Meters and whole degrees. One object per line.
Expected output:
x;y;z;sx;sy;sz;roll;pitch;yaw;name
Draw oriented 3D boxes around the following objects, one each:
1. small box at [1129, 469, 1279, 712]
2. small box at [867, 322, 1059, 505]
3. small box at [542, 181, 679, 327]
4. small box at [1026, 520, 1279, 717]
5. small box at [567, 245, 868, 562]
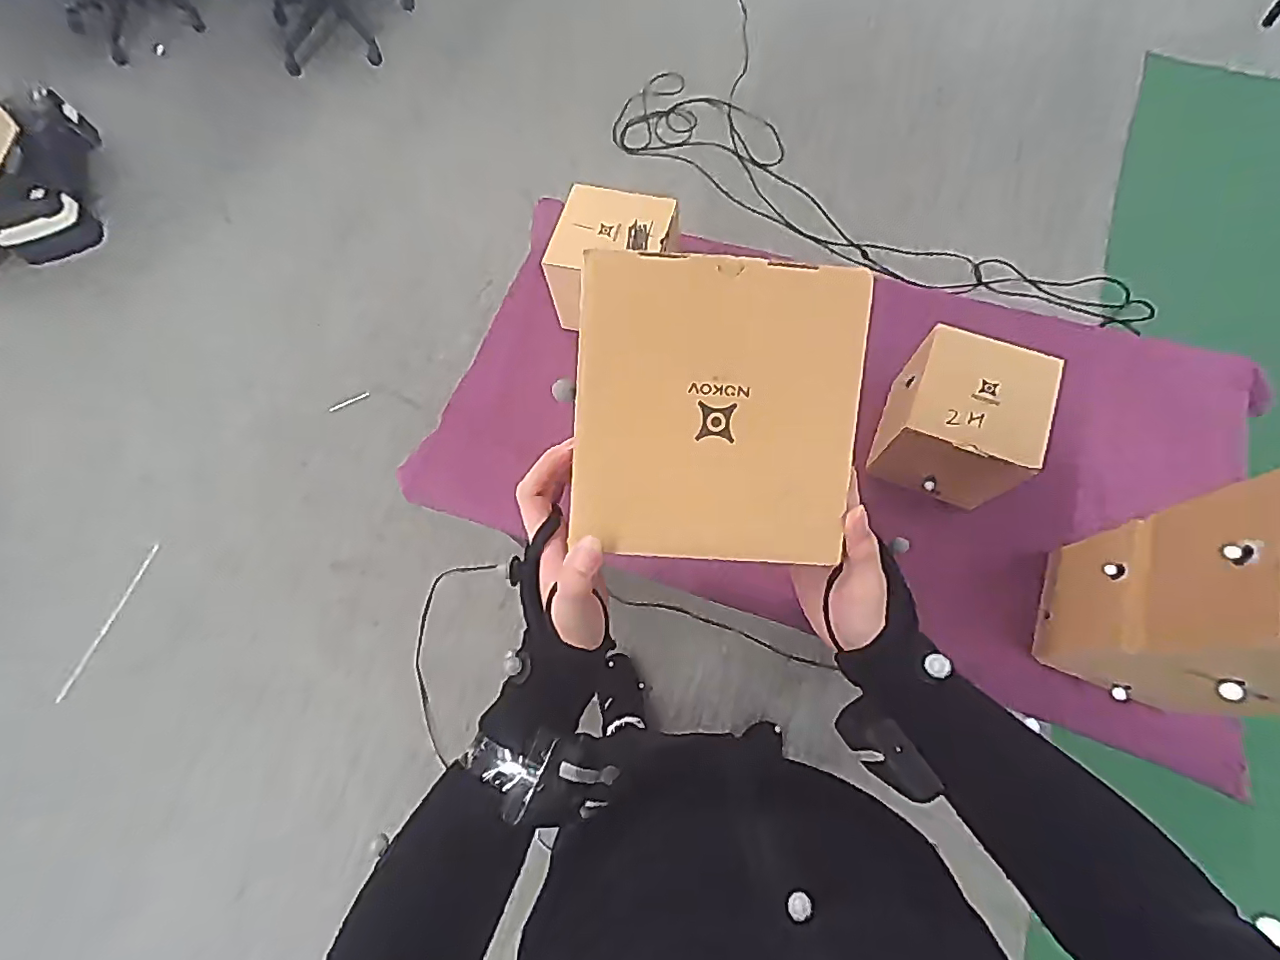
0.631;0.114;0.525;0.168;0.176;0.179;21;73;12;small box
0.453;-0.089;0.783;0.168;0.176;0.179;22;73;11;small box
-0.039;-0.358;0.907;0.179;0.176;0.168;14;72;9;small box
0.638;0.173;0.677;0.179;0.176;0.168;22;72;11;small box
0.042;-0.051;0.396;0.168;0.176;0.179;4;97;-2;small box
